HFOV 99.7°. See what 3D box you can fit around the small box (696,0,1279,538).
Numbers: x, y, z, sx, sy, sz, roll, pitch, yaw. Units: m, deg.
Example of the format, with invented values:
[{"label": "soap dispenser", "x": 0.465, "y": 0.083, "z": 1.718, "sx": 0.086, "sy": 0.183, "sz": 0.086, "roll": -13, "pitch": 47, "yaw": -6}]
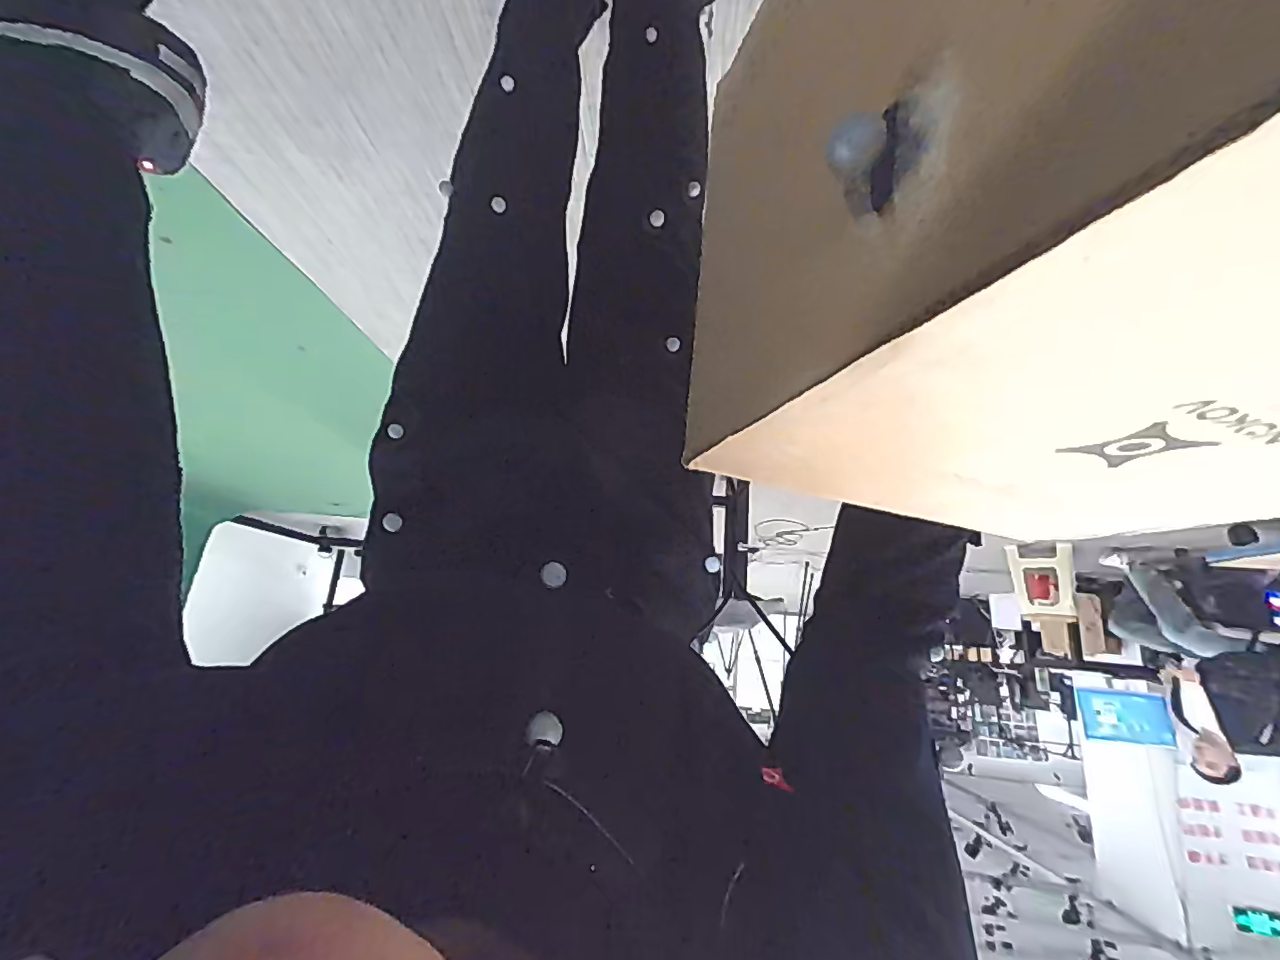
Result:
[{"label": "small box", "x": 0.129, "y": -0.088, "z": 0.150, "sx": 0.168, "sy": 0.176, "sz": 0.179, "roll": 12, "pitch": 164, "yaw": -18}]
